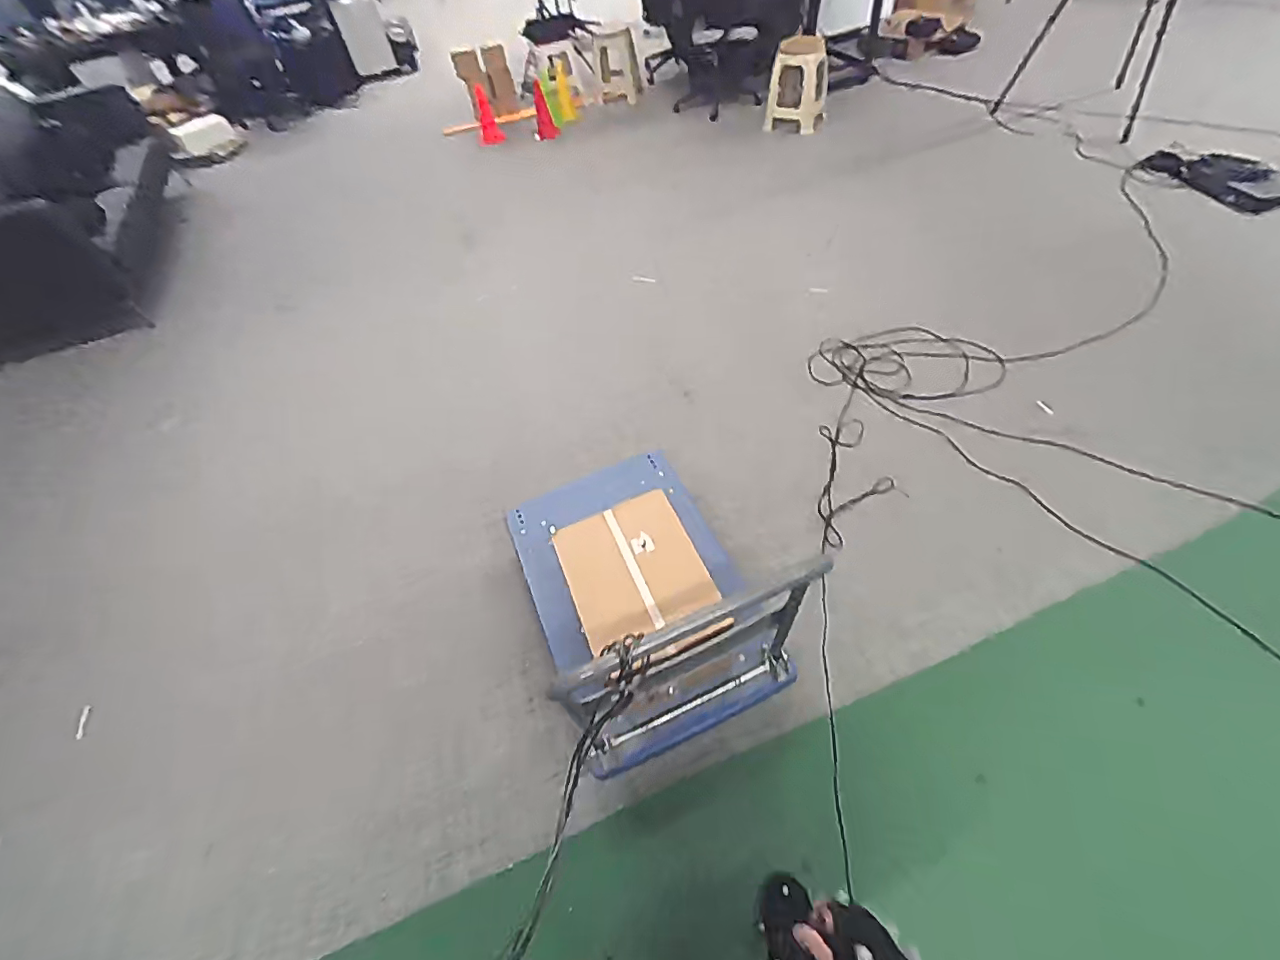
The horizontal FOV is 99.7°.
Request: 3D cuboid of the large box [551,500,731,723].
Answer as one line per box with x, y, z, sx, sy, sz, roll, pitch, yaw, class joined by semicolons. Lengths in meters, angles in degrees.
0.007;0.335;1.392;0.320;0.320;0.408;-21;52;-9;large box
